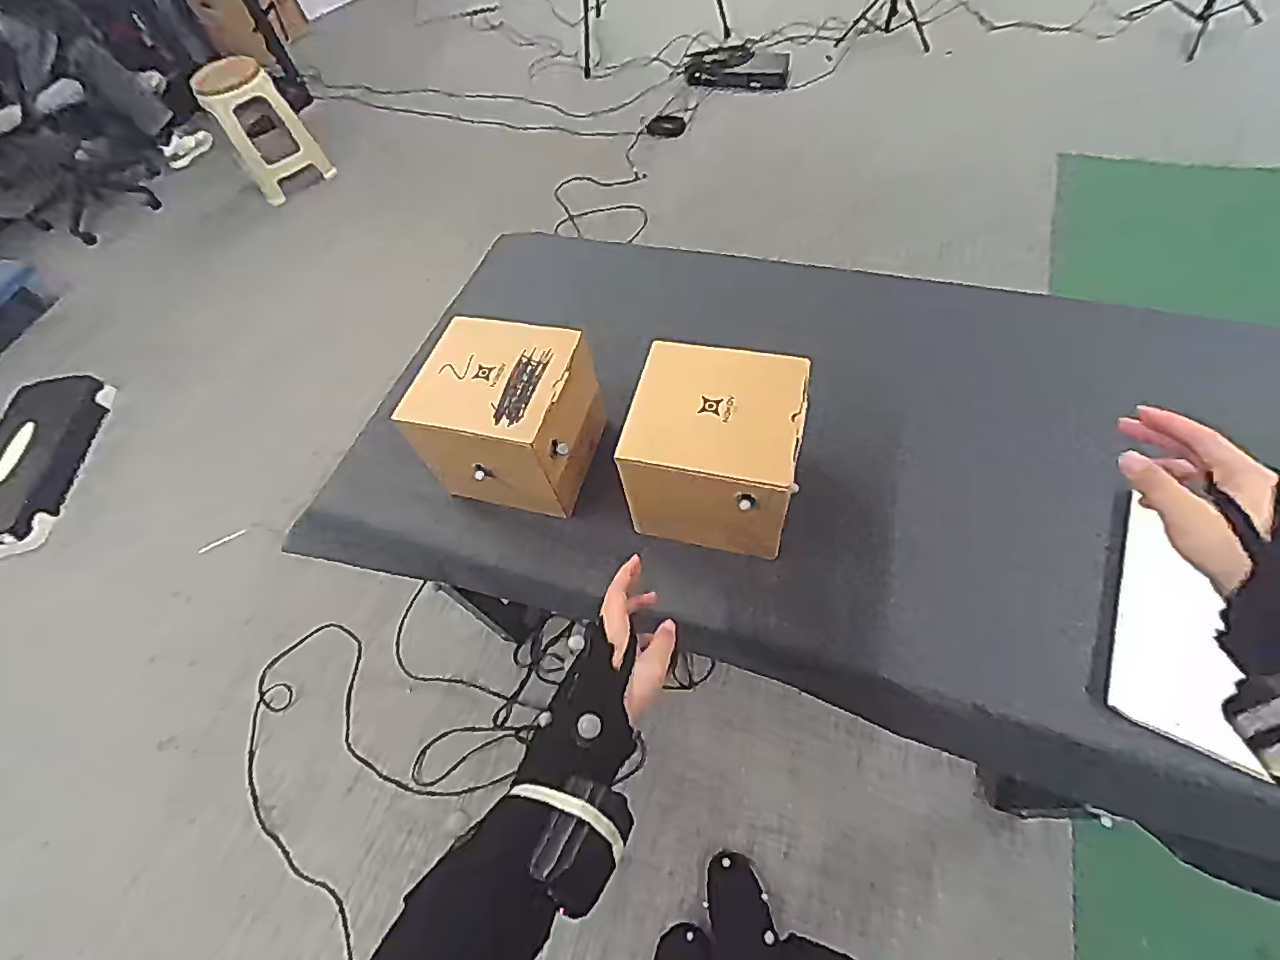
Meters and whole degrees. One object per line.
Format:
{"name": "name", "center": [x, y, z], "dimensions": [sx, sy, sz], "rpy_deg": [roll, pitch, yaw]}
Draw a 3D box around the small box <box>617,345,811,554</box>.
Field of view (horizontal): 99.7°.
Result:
{"name": "small box", "center": [0.088, -0.031, 0.626], "dimensions": [0.179, 0.176, 0.168], "rpy_deg": [10, 60, 13]}
